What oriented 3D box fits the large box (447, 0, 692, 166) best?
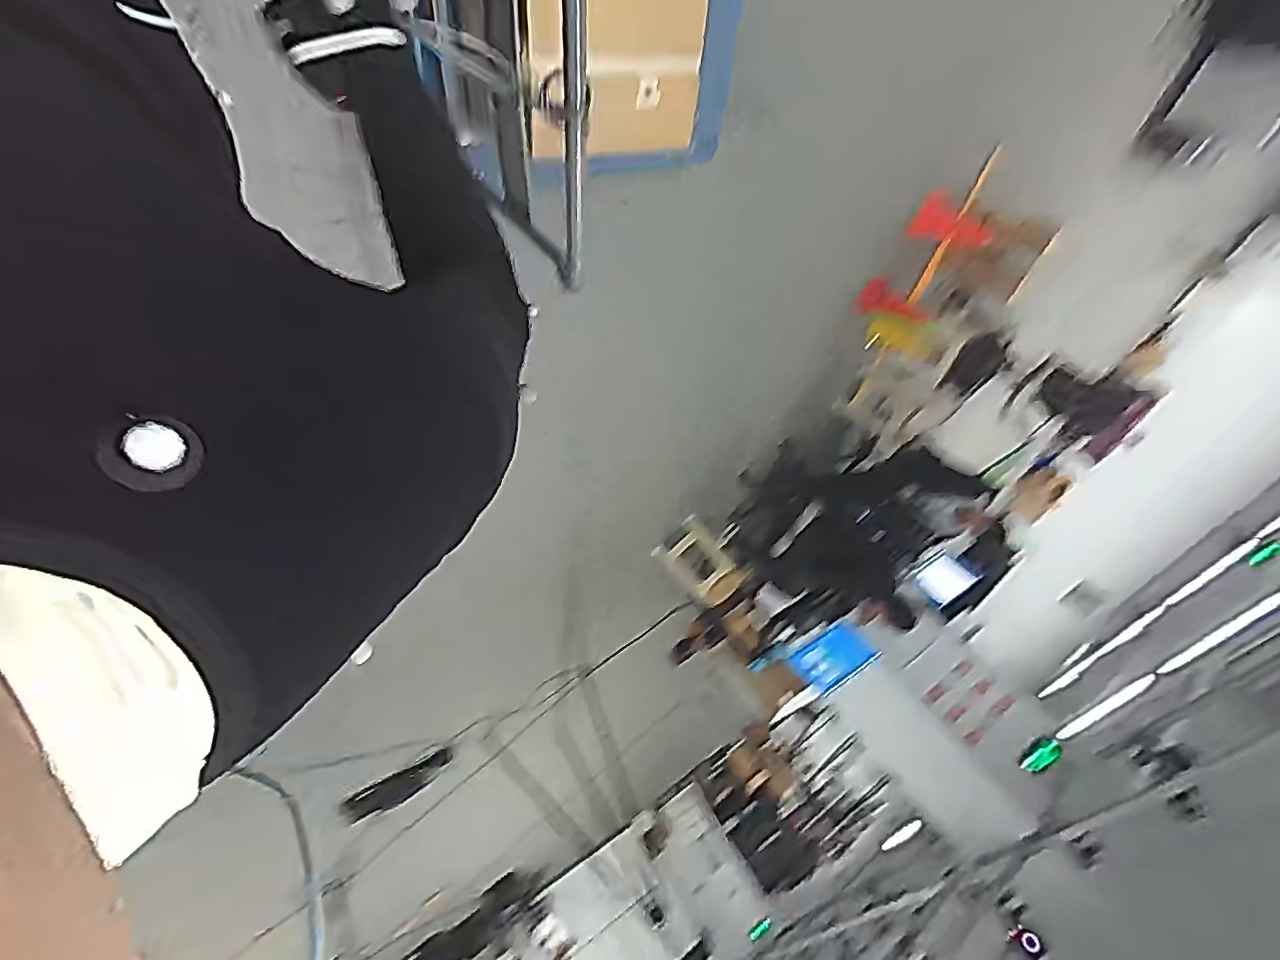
[{"bbox_3d":[-0.152,-0.901,1.159,0.408,0.320,0.320,-24,141,-29],"label":"large box"}]
